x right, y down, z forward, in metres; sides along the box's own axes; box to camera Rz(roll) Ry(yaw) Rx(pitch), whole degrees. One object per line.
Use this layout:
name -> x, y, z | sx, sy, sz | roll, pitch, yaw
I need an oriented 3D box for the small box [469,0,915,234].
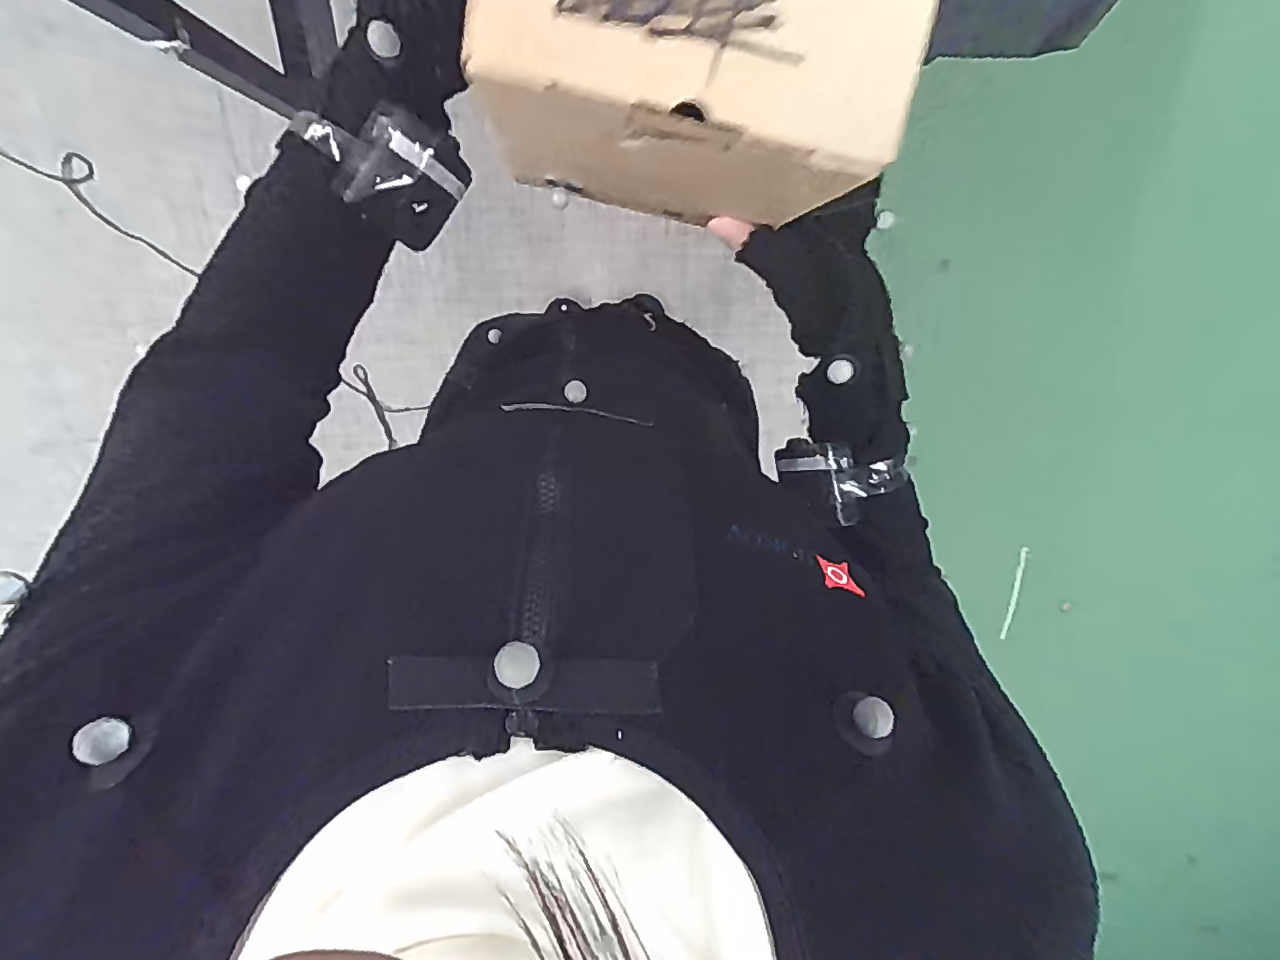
small box -> 0.024, -0.240, 0.271 | 0.168, 0.176, 0.179 | 10, 104, -10
